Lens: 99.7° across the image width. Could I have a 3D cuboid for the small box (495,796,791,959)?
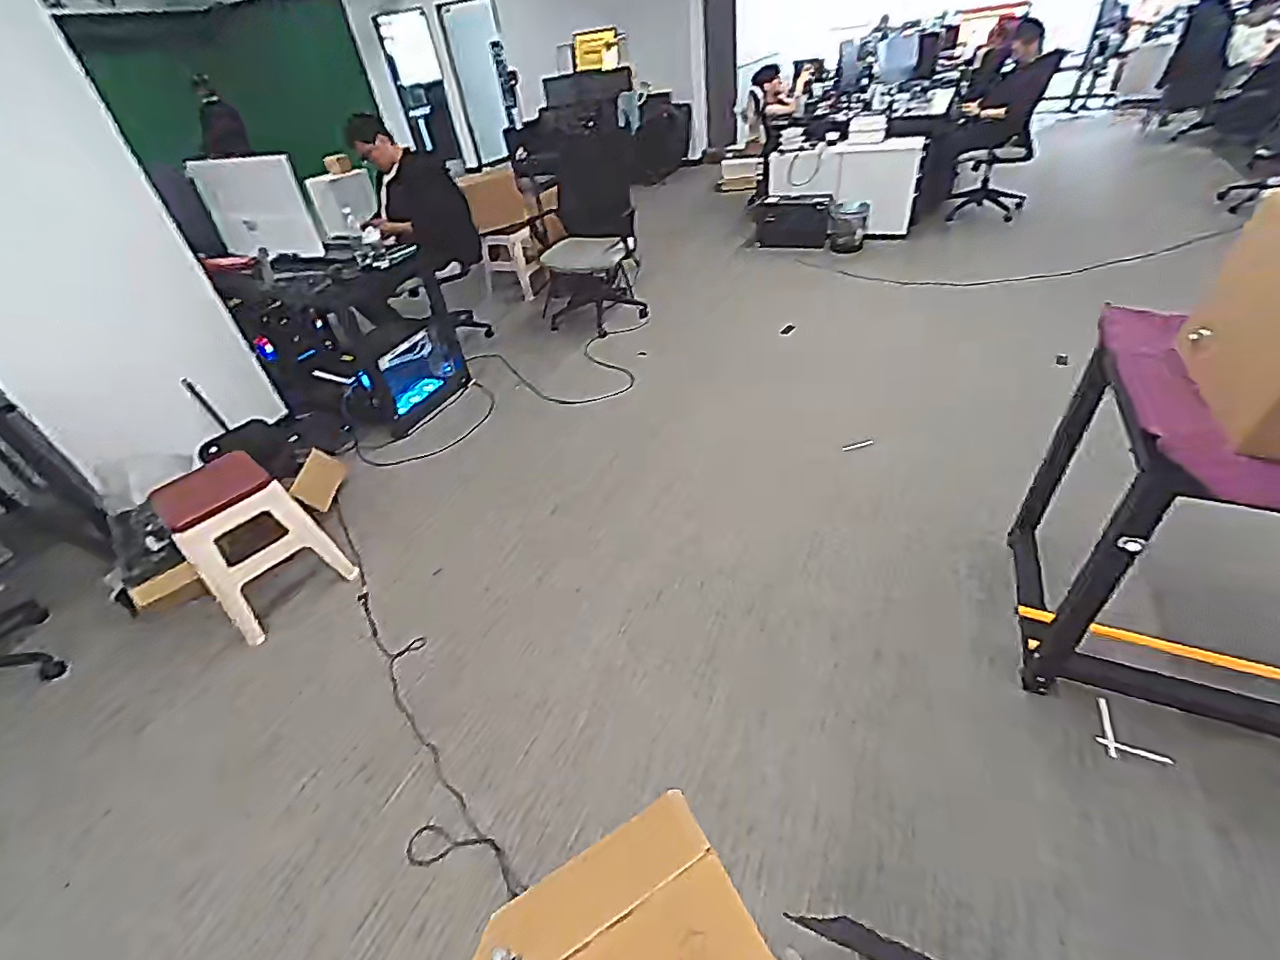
[{"bbox_3d":[0.012,0.337,0.341,0.179,0.176,0.168,-29,75,-11],"label":"small box"}]
